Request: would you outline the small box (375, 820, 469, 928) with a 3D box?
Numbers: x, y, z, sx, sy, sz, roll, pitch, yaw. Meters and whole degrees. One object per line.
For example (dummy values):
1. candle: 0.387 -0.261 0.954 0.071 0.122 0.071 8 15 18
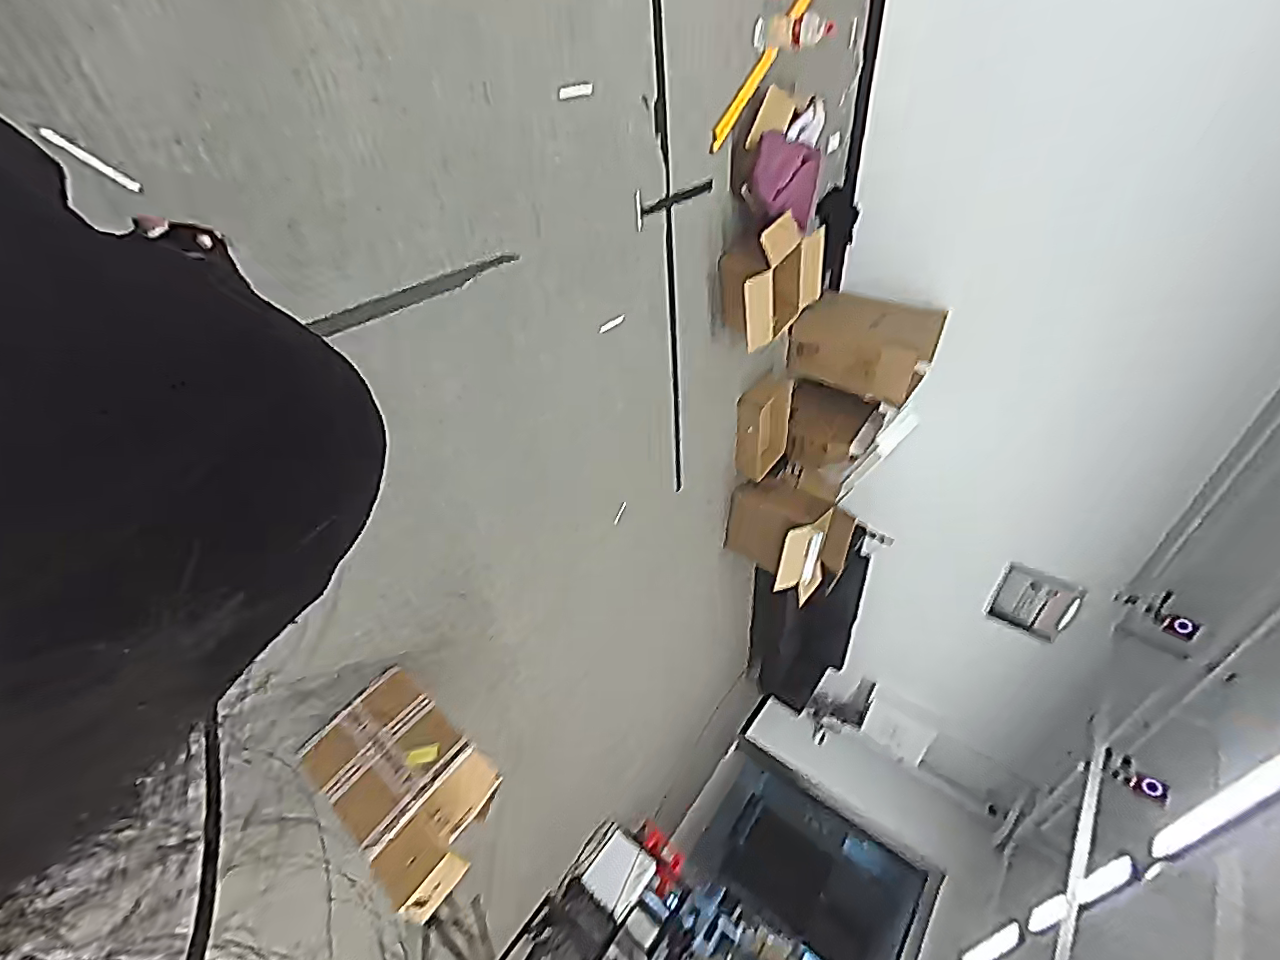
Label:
1. small box: -0.648 1.158 1.595 0.179 0.176 0.168 -45 140 -29
